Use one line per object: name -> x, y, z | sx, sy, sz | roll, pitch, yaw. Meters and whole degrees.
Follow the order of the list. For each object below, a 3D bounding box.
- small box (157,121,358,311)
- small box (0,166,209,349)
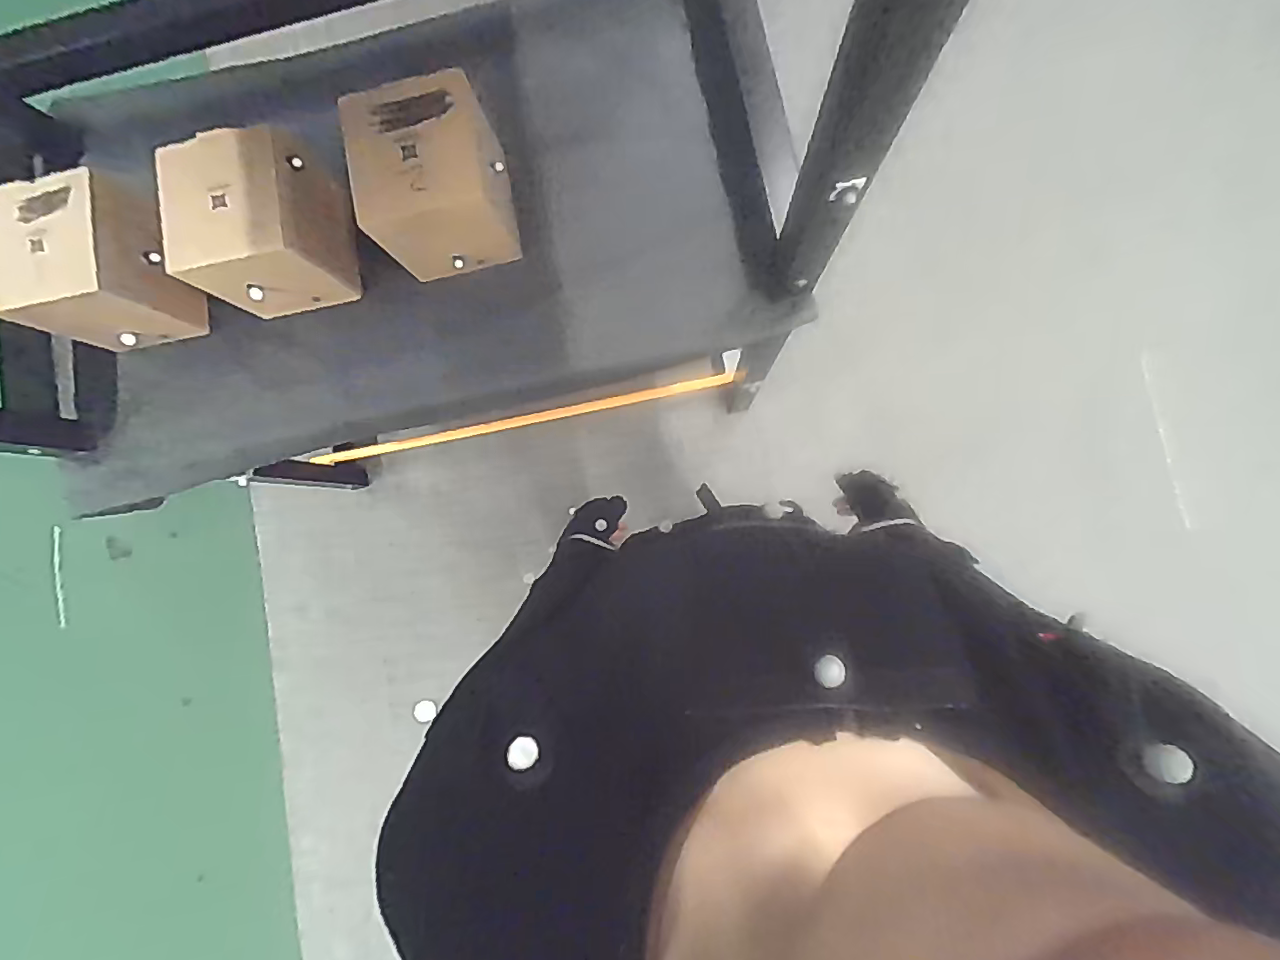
small box -> -0.532, -0.359, 0.775 | 0.168, 0.176, 0.179 | -10, 85, 4
small box -> -0.780, -0.313, 0.791 | 0.168, 0.176, 0.179 | -10, 86, 4
